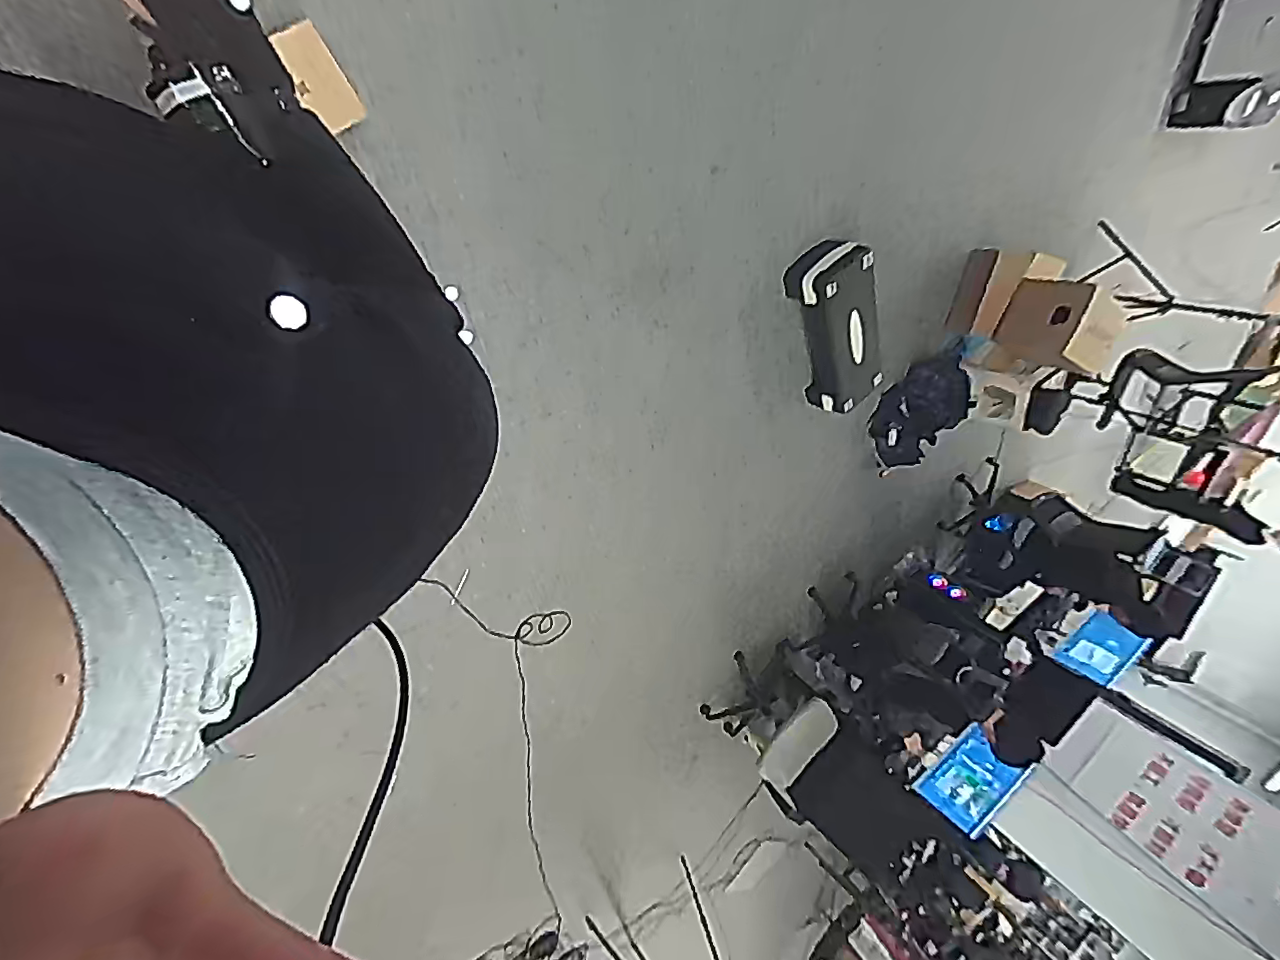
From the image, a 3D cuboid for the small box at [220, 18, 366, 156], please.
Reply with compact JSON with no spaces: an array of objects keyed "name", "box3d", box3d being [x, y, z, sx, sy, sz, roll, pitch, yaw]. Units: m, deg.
[{"name":"small box","box3d":[-0.684,-0.766,1.072,0.179,0.176,0.168,-40,133,-13]}]
